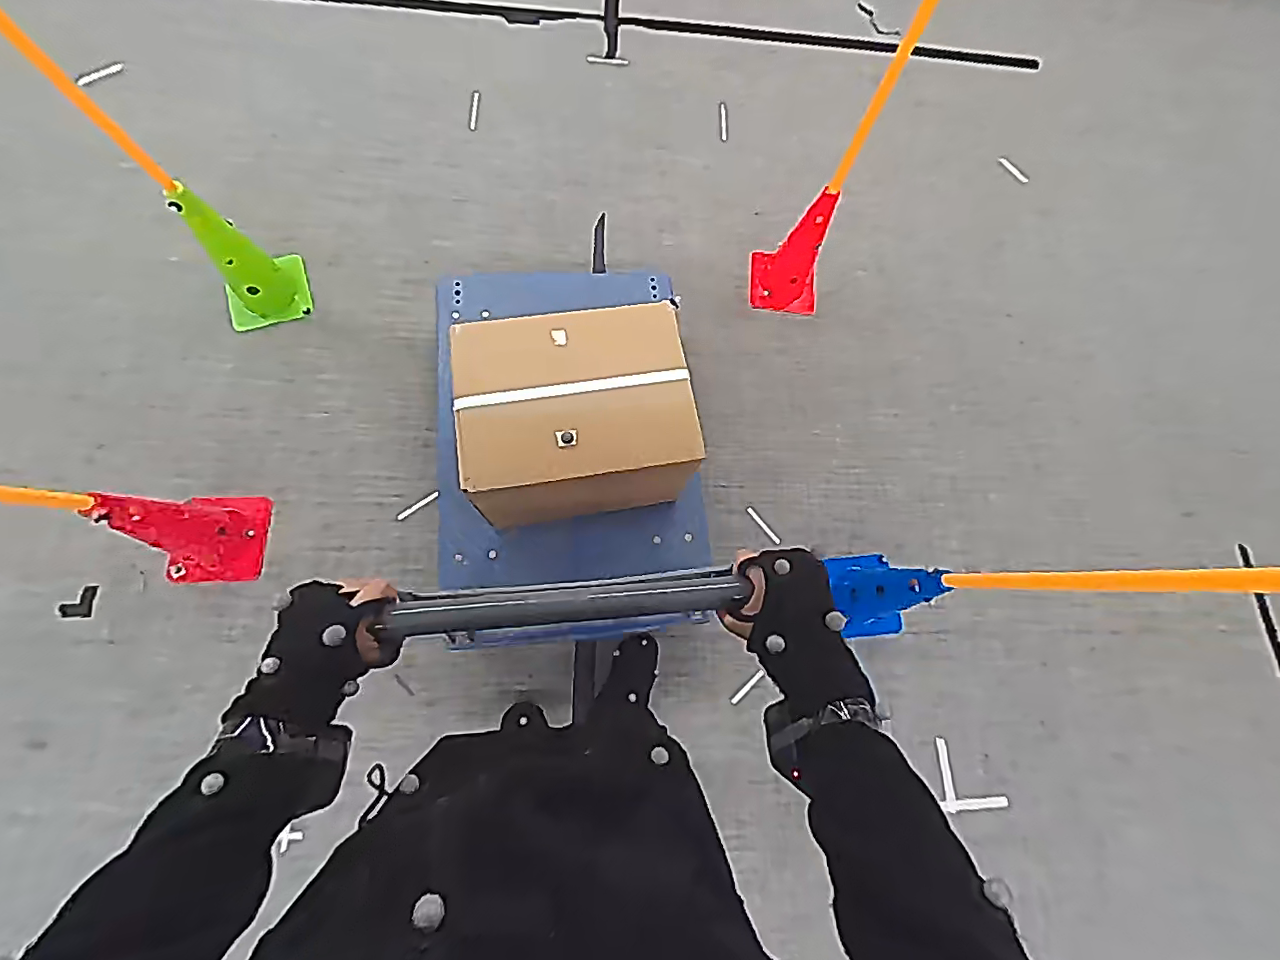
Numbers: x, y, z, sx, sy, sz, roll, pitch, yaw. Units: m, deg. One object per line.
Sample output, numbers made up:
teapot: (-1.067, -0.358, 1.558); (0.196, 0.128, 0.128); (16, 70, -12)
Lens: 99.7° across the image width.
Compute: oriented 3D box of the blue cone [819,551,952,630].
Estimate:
blue cone: (0.576, 0.233, 1.223); (0.193, 0.380, 0.192); (-2, 73, -7)

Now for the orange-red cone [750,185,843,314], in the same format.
orange-red cone: (0.449, -0.640, 1.451); (0.199, 0.360, 0.198); (8, 74, -4)
